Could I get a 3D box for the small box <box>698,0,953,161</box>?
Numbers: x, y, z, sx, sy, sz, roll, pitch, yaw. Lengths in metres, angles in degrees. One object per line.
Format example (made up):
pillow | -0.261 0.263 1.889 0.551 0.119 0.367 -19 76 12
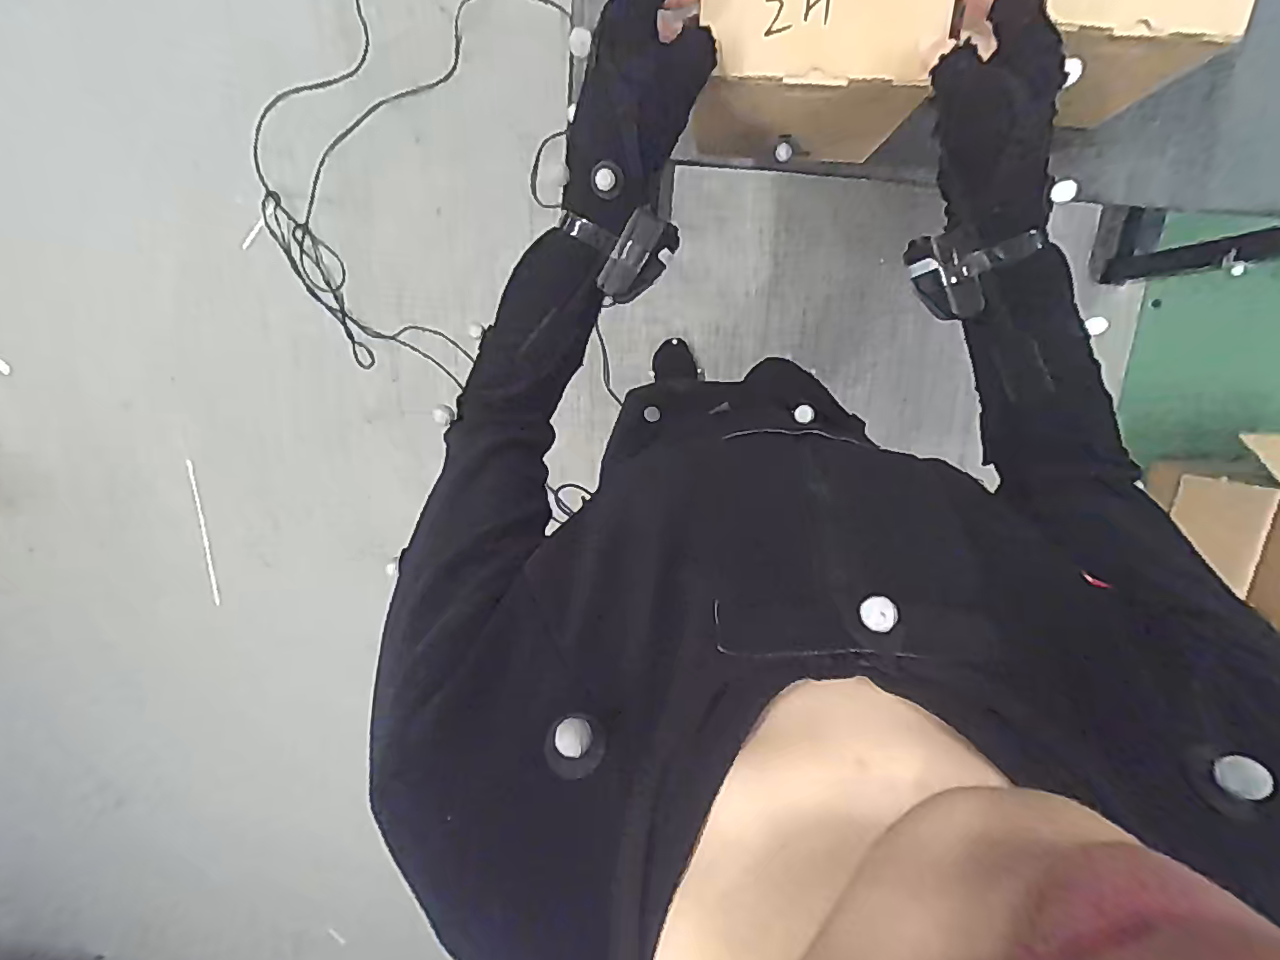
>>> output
small box | 0.136 -0.382 0.431 0.168 0.176 0.179 5 105 5
